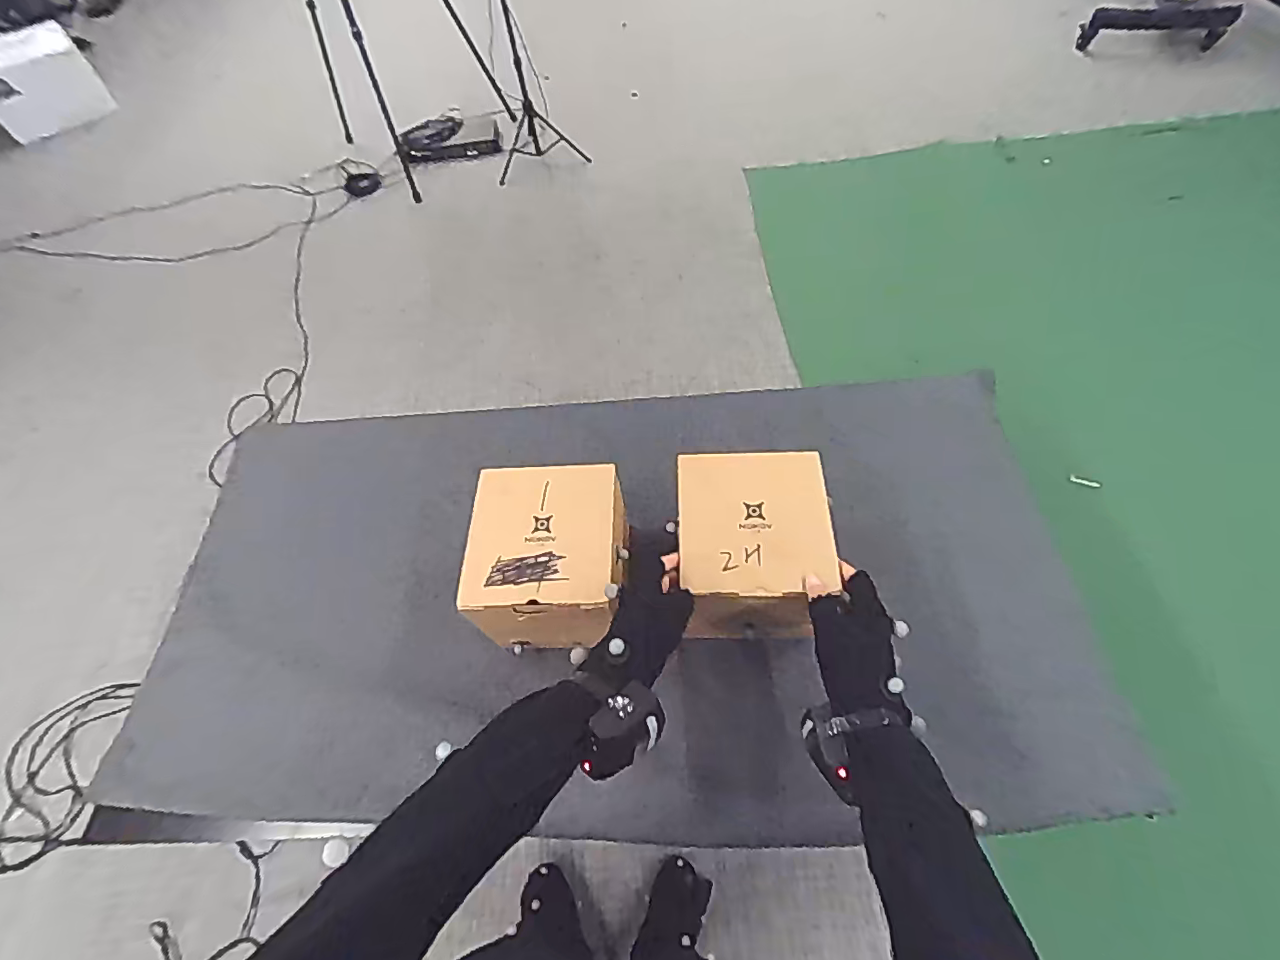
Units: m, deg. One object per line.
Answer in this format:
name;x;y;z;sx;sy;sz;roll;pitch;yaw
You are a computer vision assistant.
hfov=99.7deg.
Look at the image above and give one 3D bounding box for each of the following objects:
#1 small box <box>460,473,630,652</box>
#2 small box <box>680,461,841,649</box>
small box;-0.102;0.110;0.676;0.168;0.176;0.179;-2;57;4
small box;0.133;0.095;0.662;0.168;0.176;0.179;-1;58;6
